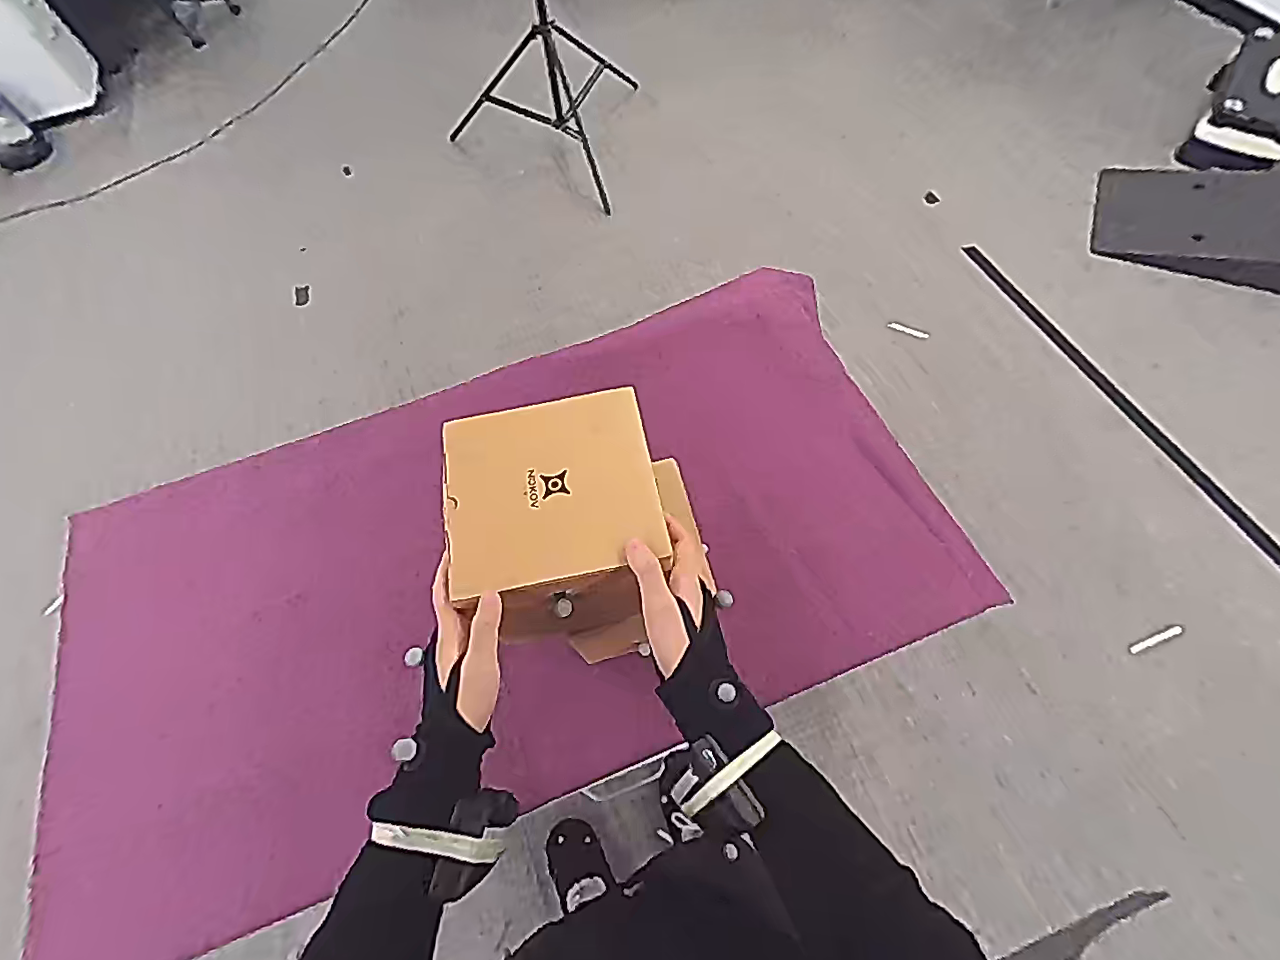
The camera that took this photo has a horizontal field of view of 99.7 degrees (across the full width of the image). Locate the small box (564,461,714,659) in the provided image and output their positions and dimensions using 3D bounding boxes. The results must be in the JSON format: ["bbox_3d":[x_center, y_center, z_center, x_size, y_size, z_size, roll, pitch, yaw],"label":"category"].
[{"bbox_3d":[-0.015,0.105,0.669,0.168,0.176,0.179,-14,63,-3],"label":"small box"}]

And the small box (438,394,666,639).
[{"bbox_3d":[-0.075,0.044,0.521,0.179,0.176,0.168,-12,63,-2],"label":"small box"}]
